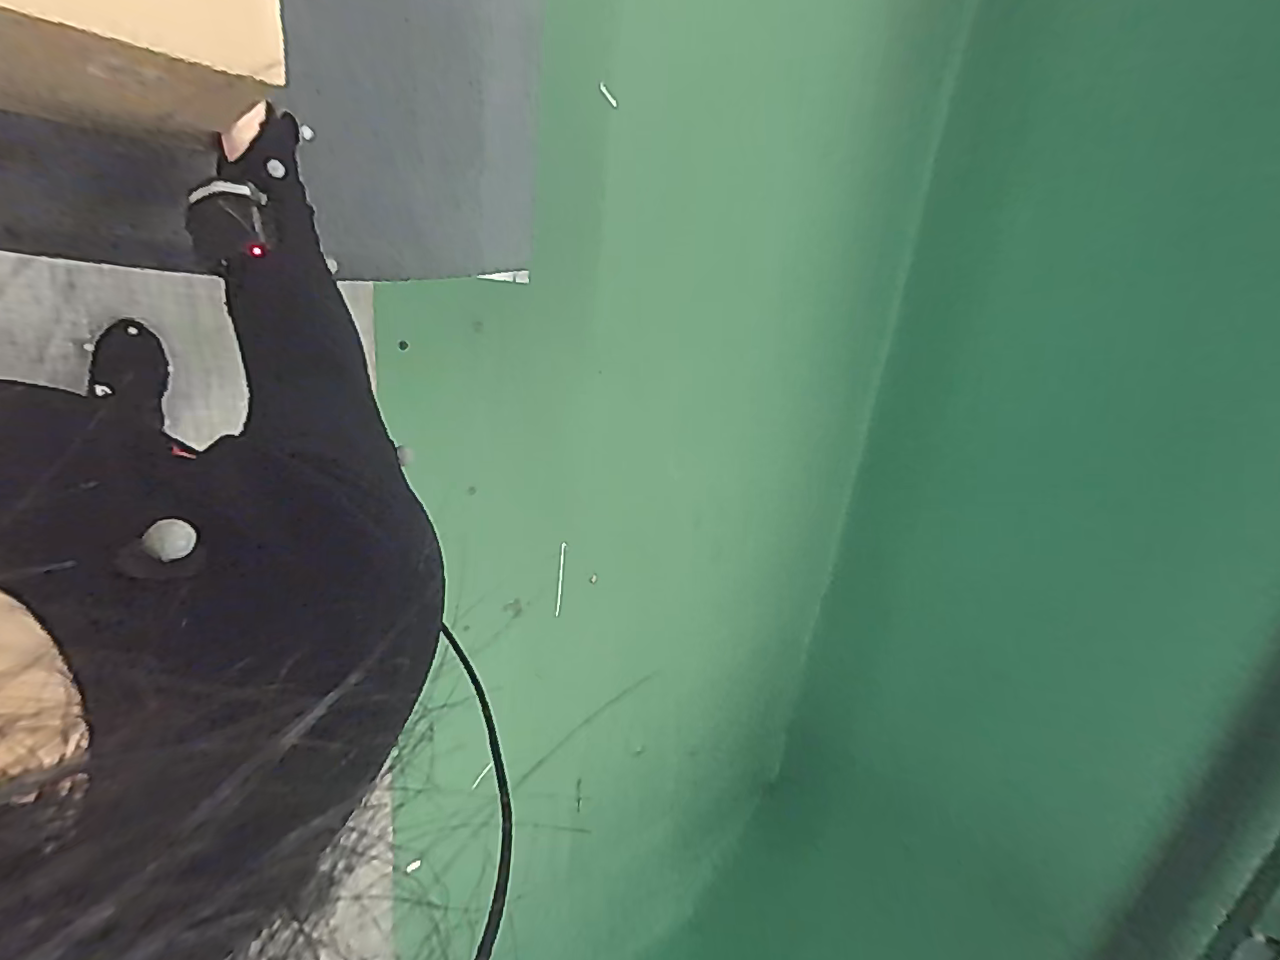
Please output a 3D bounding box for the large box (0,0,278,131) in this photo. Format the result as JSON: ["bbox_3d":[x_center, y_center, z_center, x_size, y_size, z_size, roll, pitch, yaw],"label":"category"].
[{"bbox_3d":[-0.458,-0.405,0.249,0.408,0.320,0.320,-13,117,-43],"label":"large box"}]
